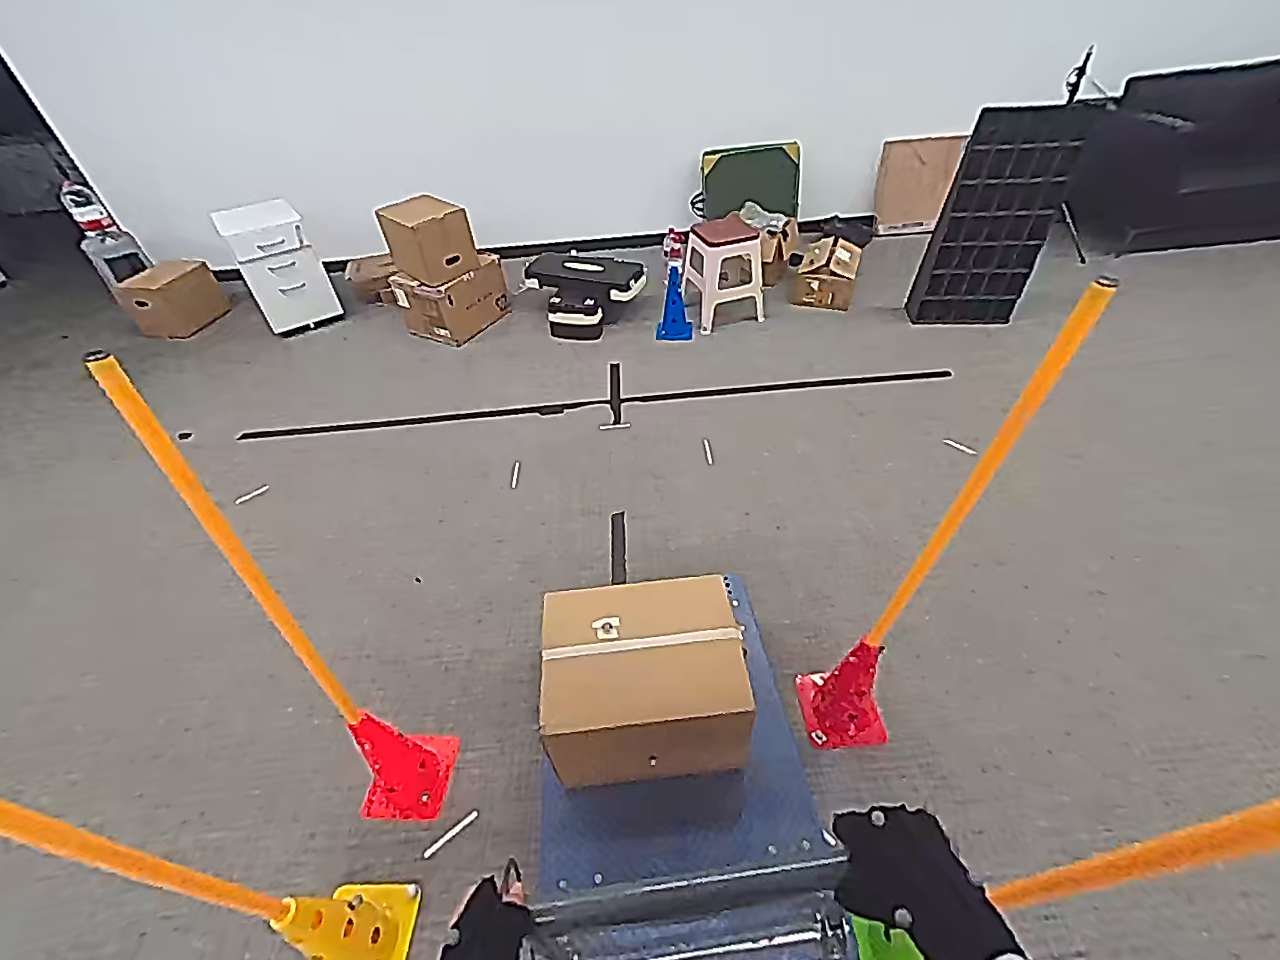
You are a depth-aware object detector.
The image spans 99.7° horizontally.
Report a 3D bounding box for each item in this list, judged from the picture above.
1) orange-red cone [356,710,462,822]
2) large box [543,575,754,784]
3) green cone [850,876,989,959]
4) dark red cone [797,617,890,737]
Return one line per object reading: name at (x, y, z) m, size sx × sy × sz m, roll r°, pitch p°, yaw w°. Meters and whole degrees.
orange-red cone at (-0.587, 0.639, 1.282) m, size 0.198 × 0.360 × 0.199 m, roll 1°, pitch 42°, yaw 5°
large box at (0.013, 0.449, 1.212) m, size 0.408 × 0.320 × 0.320 m, roll -7°, pitch 44°, yaw -1°
green cone at (0.542, 0.809, 0.989) m, size 0.202 × 0.368 × 0.200 m, roll -2°, pitch 43°, yaw 2°
dark red cone at (0.533, 0.464, 1.330) m, size 0.201 × 0.394 × 0.202 m, roll -4°, pitch 44°, yaw -1°
